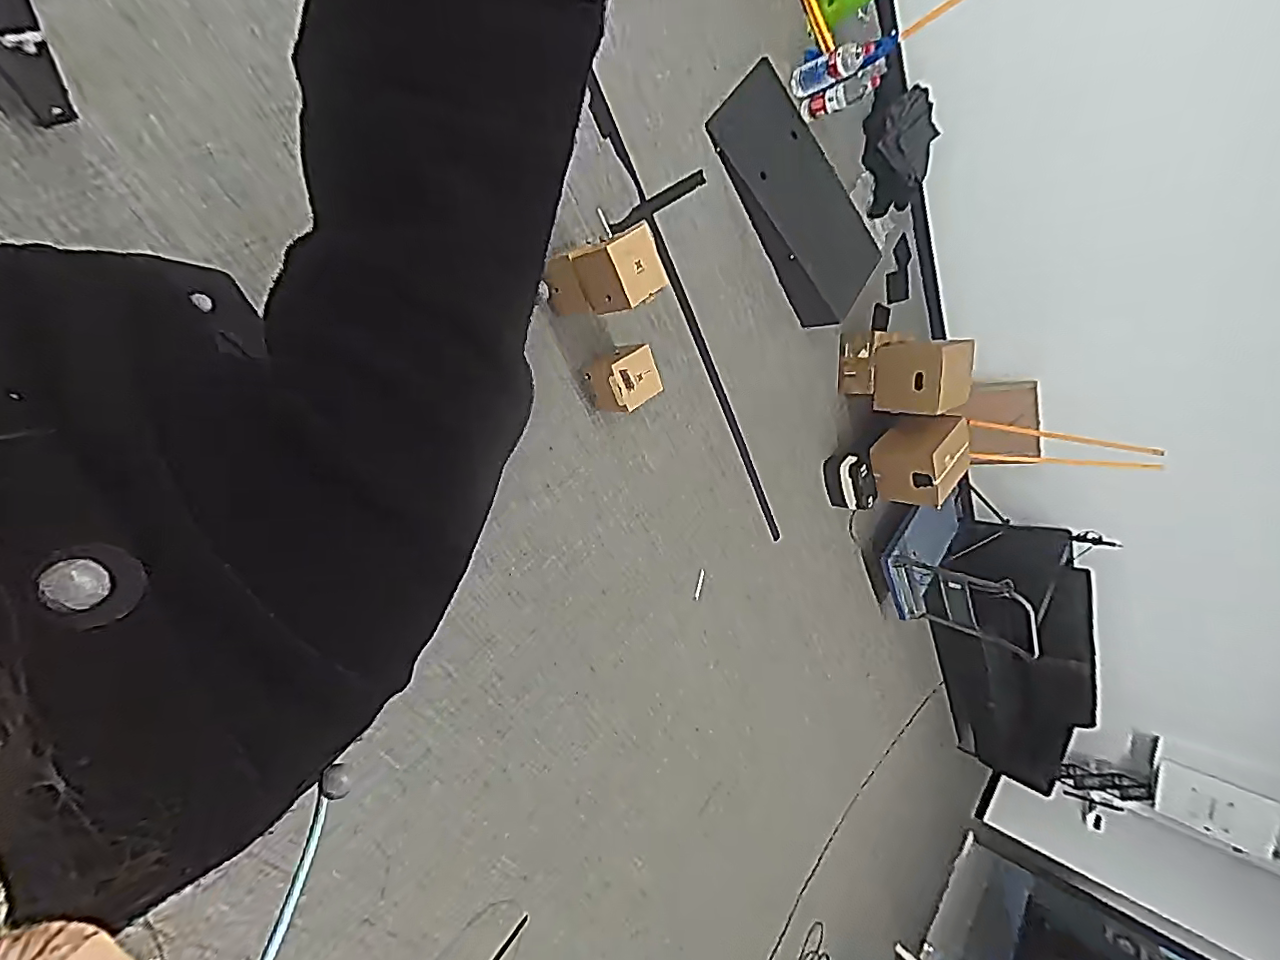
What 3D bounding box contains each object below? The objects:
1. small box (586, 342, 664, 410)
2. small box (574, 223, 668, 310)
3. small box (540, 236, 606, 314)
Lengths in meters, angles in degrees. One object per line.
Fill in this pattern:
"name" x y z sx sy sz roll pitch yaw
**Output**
"small box" -0.056 -0.344 1.796 0.179 0.176 0.168 -39 120 -31
"small box" -0.055 -0.598 1.537 0.168 0.176 0.179 -43 122 -28
"small box" -0.173 -0.618 1.649 0.168 0.176 0.179 -39 121 -30
